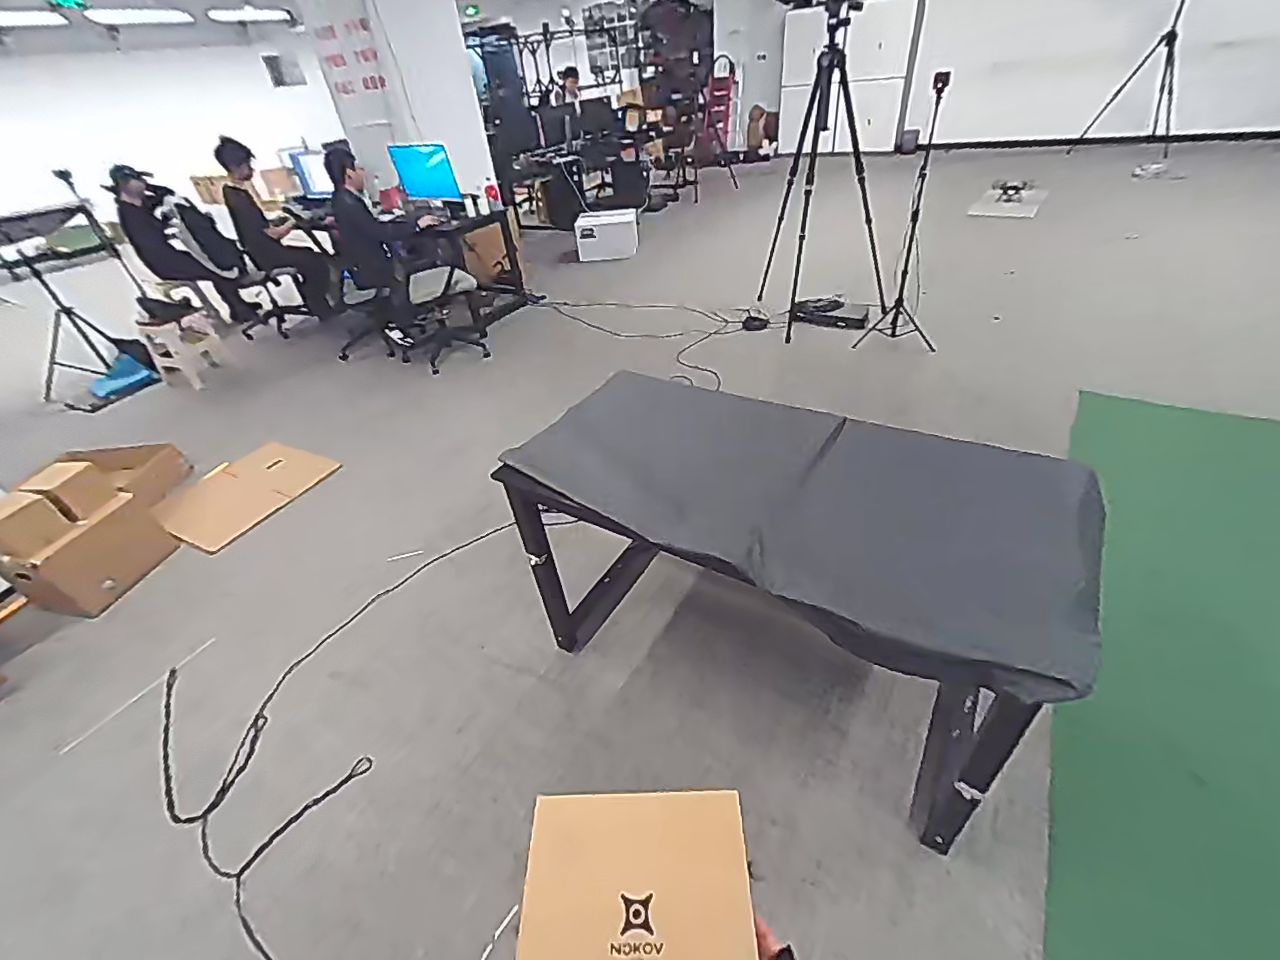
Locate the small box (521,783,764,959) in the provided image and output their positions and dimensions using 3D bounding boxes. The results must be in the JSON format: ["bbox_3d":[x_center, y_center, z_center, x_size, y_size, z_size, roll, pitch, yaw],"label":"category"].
[{"bbox_3d":[0.007,0.366,0.428,0.168,0.176,0.179,-3,42,3],"label":"small box"}]
